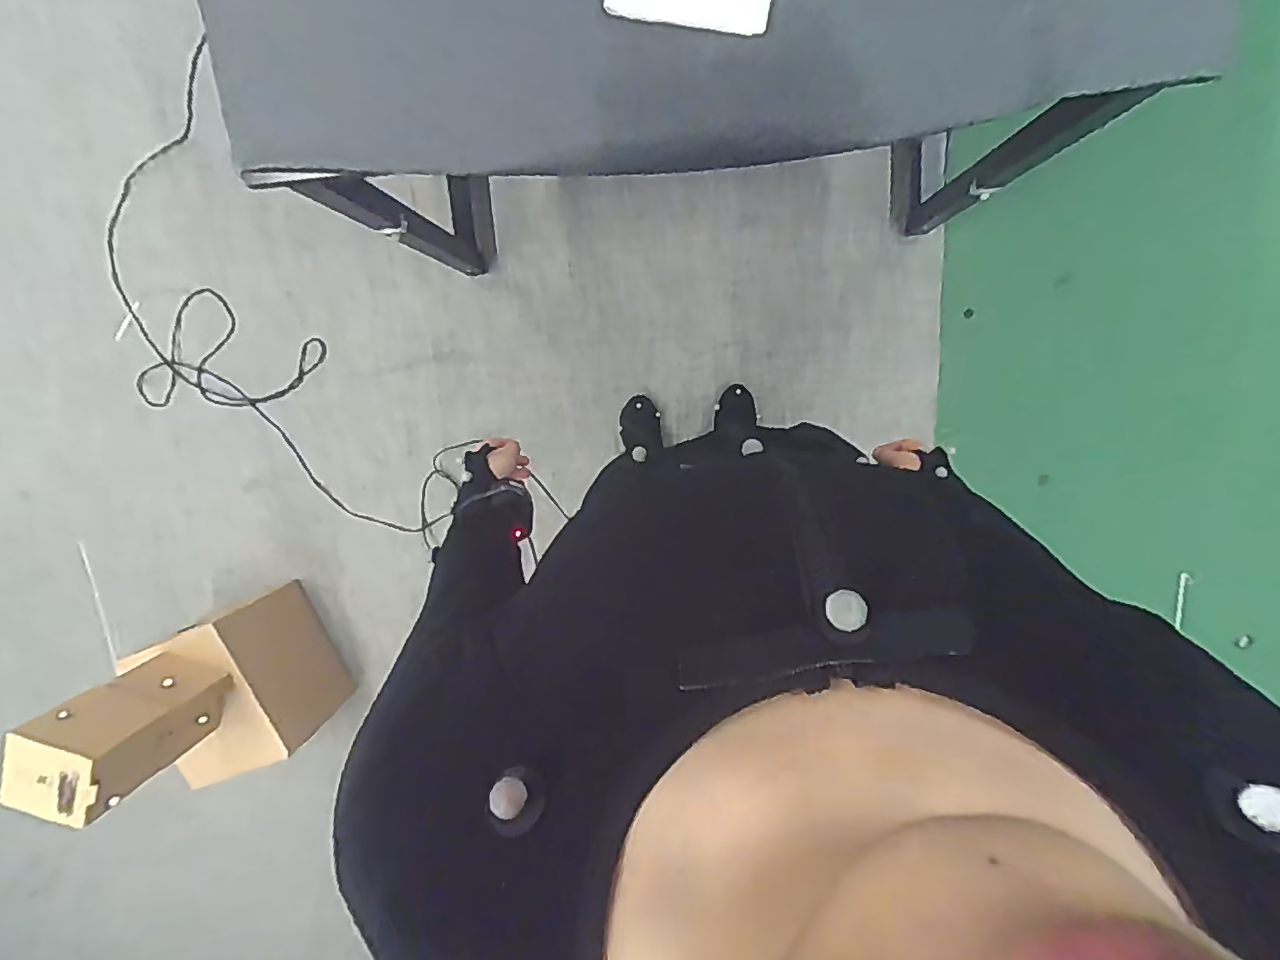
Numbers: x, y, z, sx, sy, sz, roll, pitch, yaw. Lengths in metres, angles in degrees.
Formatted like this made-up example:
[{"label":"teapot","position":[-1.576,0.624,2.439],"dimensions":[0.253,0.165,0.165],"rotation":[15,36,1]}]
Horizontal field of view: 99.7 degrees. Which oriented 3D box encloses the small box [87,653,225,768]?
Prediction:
[{"label":"small box","position":[-1.136,0.537,1.283],"dimensions":[0.179,0.176,0.168],"rotation":[18,101,-2]}]
